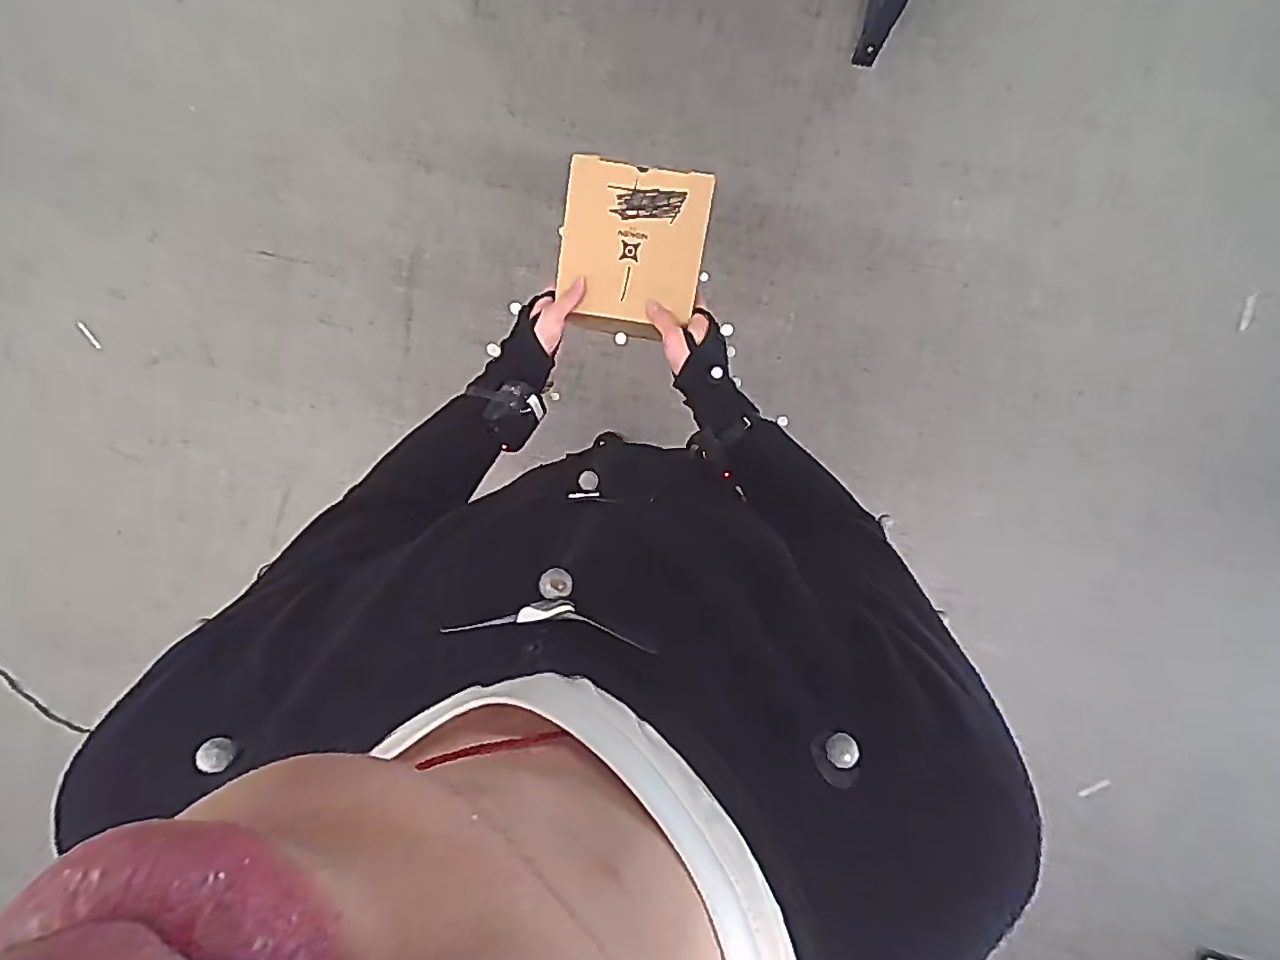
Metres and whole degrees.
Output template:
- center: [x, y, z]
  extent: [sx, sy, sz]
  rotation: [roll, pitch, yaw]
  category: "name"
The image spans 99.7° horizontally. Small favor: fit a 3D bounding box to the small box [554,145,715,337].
- center: [-0.007, -0.294, 0.703]
  extent: [0.168, 0.176, 0.179]
  rotation: [9, 99, 0]
  category: "small box"
